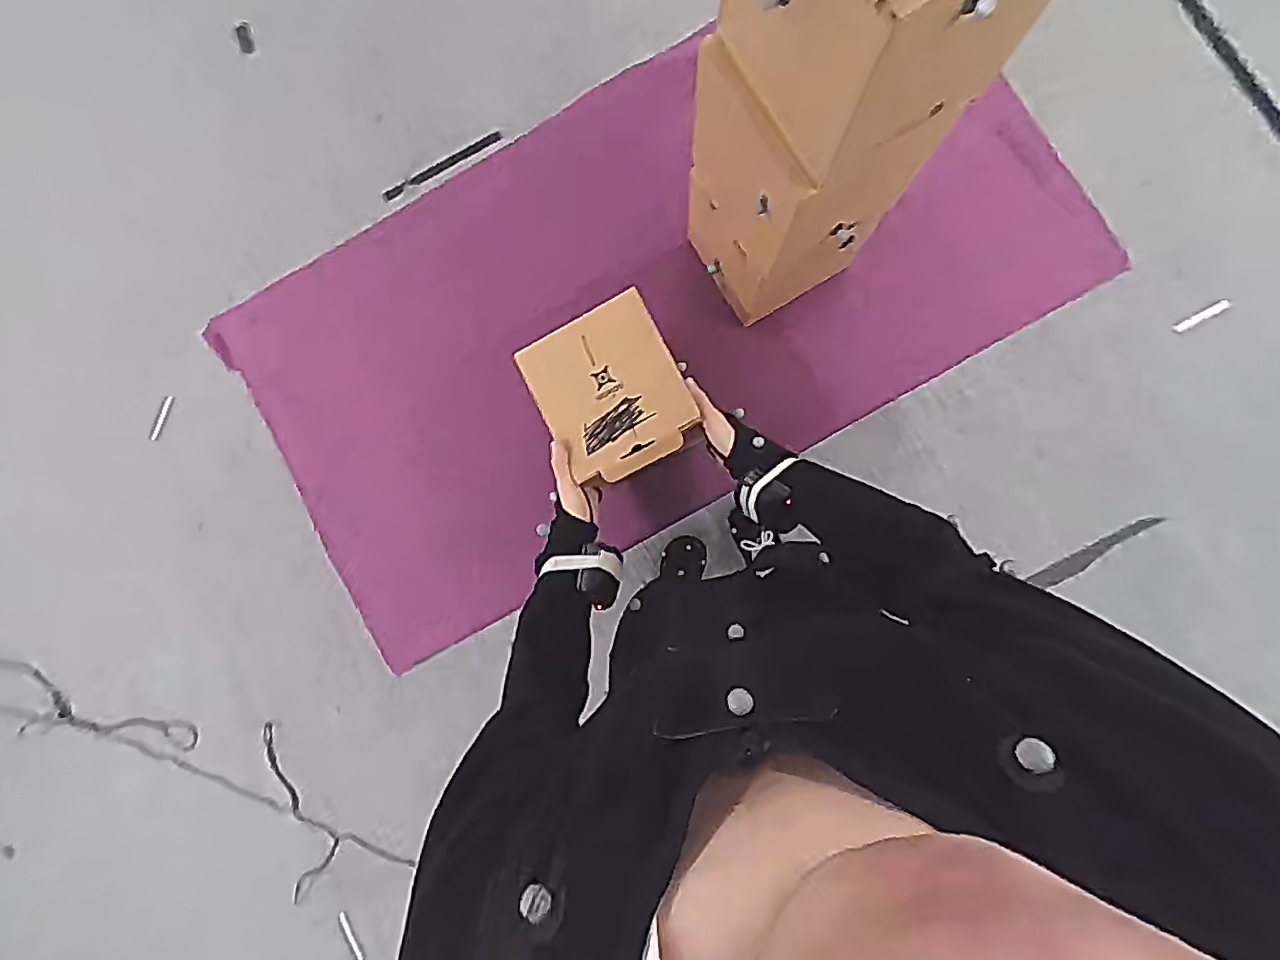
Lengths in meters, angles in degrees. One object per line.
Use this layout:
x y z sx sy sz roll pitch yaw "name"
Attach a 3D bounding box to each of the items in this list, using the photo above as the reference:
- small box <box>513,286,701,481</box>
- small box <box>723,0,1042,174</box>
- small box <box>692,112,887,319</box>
-0.030 -0.109 0.699 0.168 0.176 0.179 -27 82 7 "small box"
0.172 -0.371 0.385 0.168 0.176 0.179 -31 85 2 "small box"
0.179 -0.345 0.712 0.179 0.176 0.168 -31 85 3 "small box"
